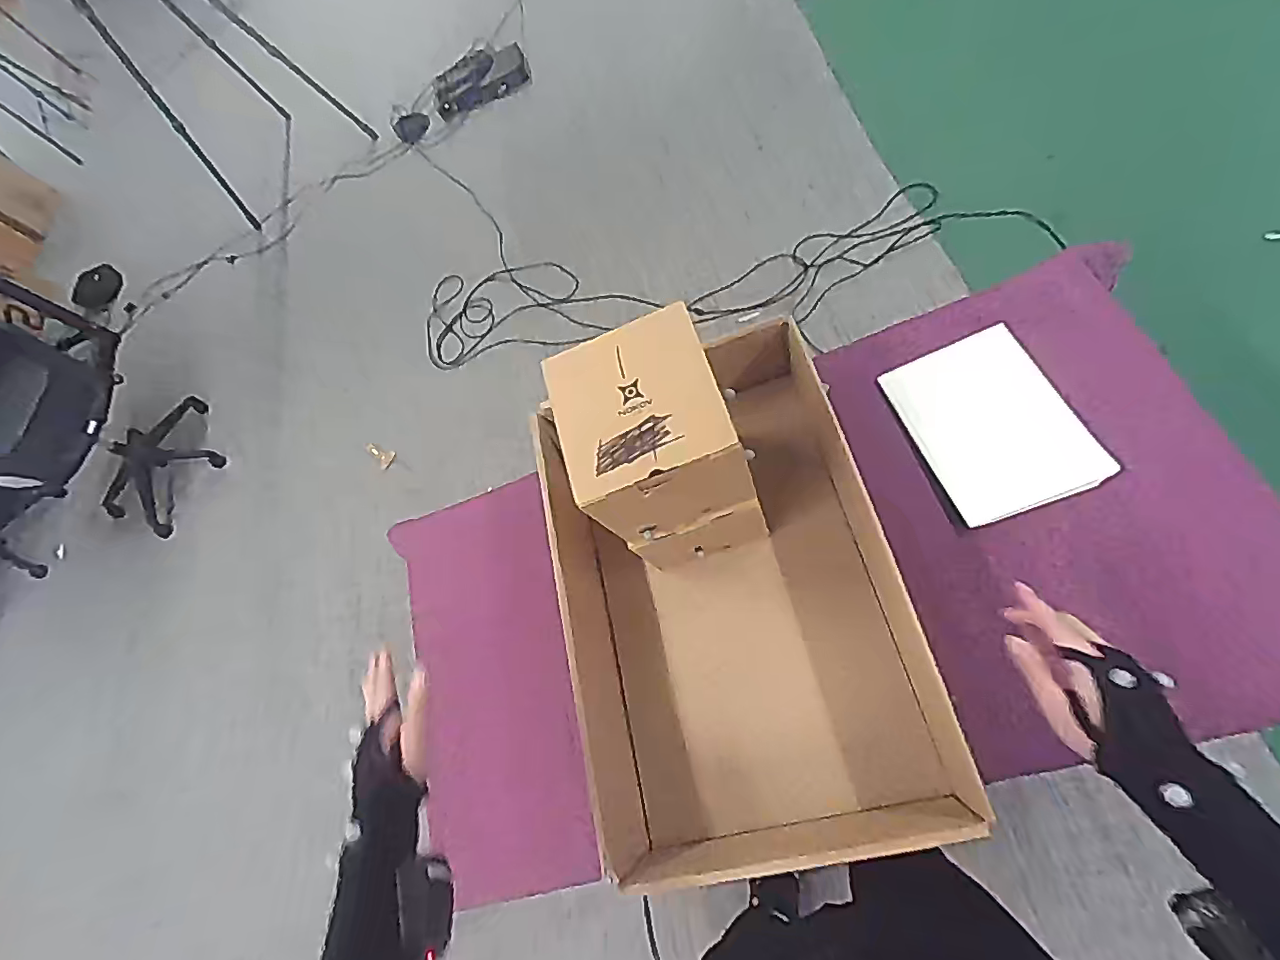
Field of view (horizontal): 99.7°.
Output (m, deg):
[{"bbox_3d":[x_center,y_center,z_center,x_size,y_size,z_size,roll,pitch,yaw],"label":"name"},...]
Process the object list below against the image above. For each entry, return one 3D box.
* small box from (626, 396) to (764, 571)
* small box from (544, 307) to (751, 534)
[{"bbox_3d":[0.065,0.010,0.751,0.168,0.176,0.179,-20,67,10],"label":"small box"},{"bbox_3d":[0.015,-0.050,0.606,0.168,0.176,0.179,-21,65,9],"label":"small box"}]
